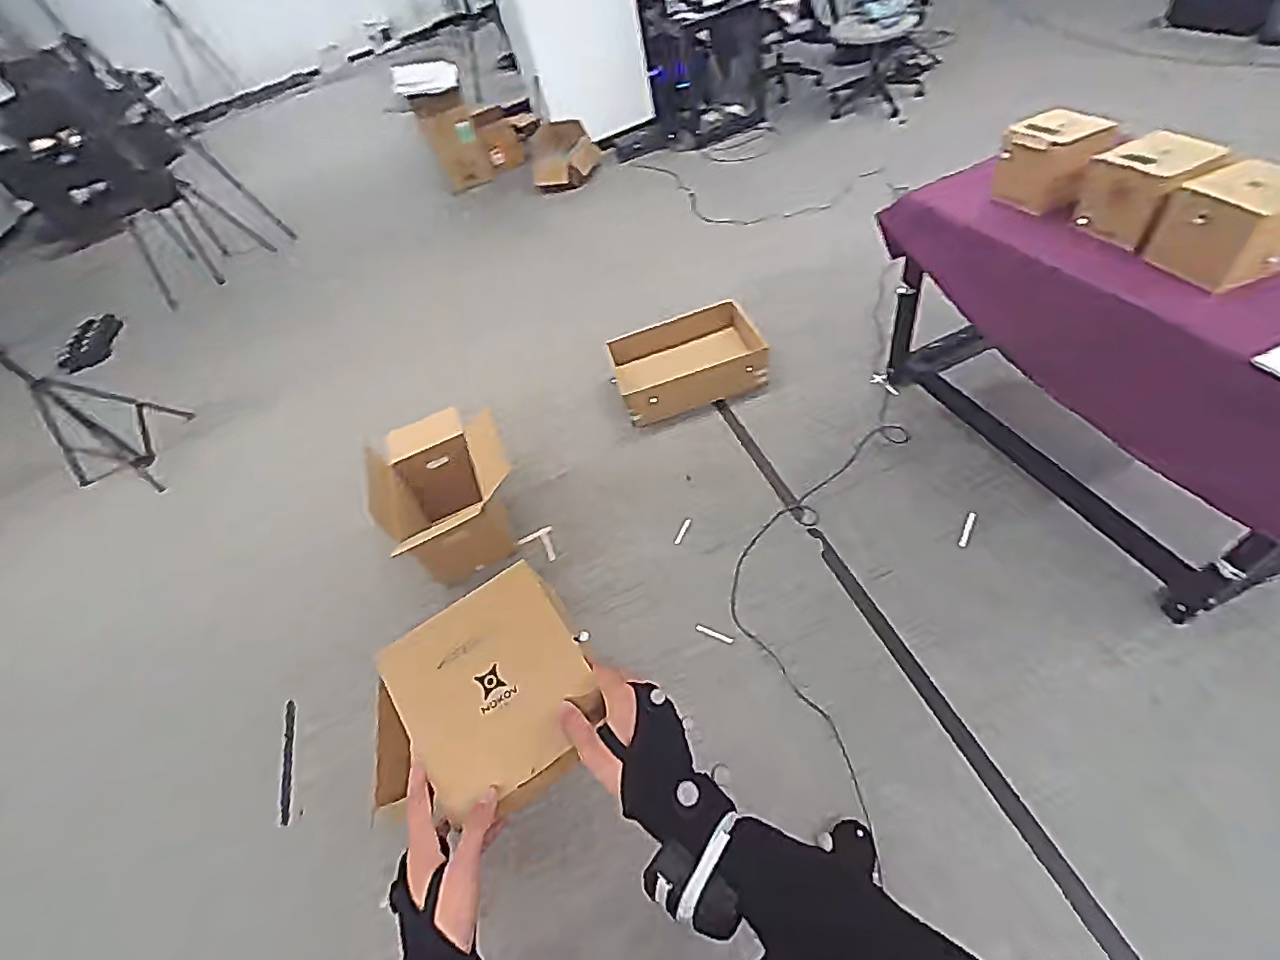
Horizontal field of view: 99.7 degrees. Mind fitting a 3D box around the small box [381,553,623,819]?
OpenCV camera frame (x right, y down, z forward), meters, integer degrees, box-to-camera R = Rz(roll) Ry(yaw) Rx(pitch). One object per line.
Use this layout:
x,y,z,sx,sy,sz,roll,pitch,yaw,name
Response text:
-0.127,0.206,0.566,0.168,0.176,0.179,-31,71,-11,small box
